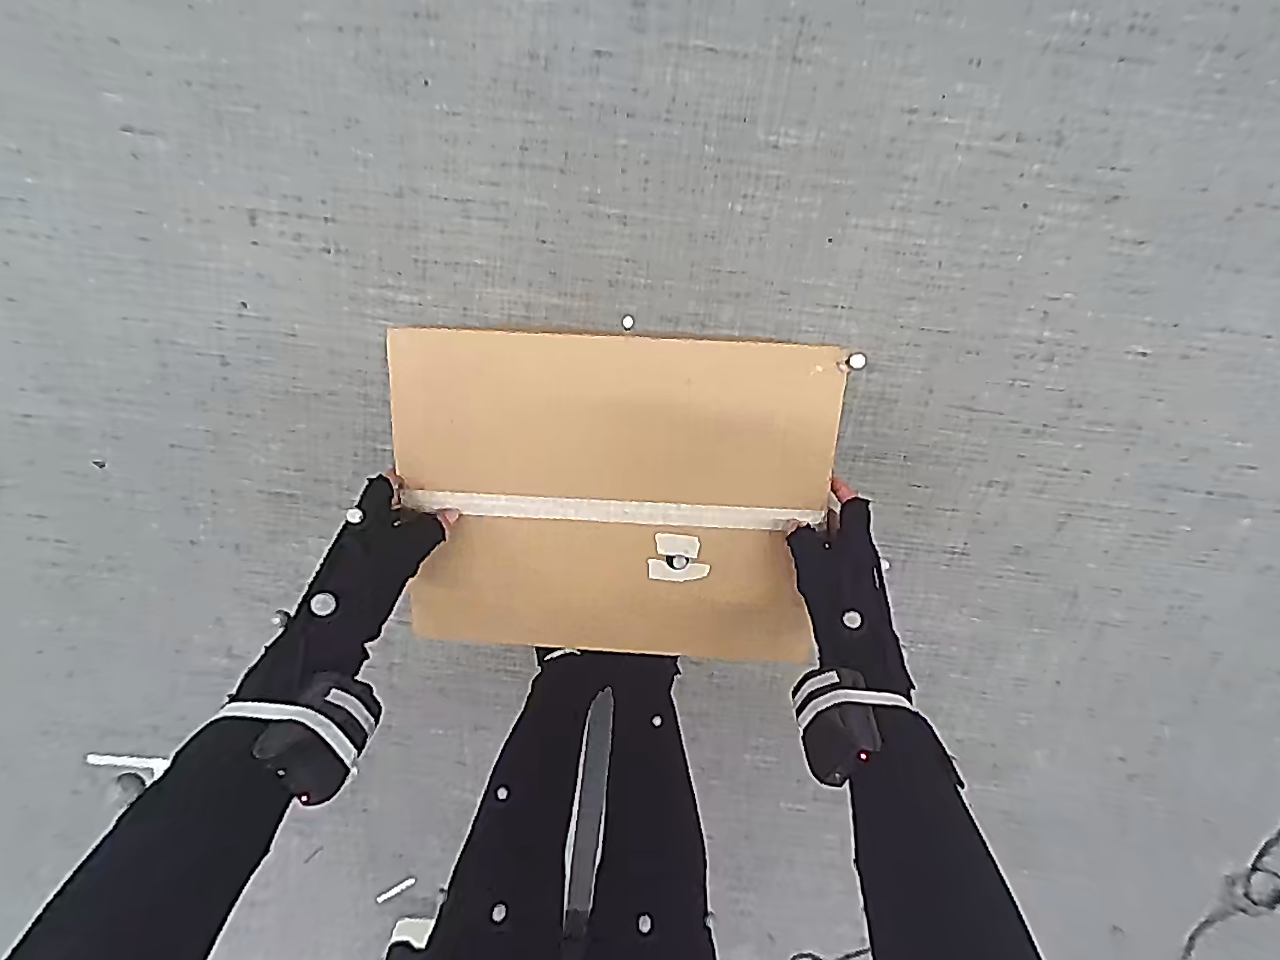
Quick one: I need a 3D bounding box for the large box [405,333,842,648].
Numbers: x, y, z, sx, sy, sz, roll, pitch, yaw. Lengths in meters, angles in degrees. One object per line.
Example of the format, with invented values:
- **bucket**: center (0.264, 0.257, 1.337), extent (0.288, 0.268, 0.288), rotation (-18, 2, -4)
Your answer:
- **large box**: center (-0.017, -0.017, 0.668), extent (0.408, 0.320, 0.320), rotation (3, 107, 2)
